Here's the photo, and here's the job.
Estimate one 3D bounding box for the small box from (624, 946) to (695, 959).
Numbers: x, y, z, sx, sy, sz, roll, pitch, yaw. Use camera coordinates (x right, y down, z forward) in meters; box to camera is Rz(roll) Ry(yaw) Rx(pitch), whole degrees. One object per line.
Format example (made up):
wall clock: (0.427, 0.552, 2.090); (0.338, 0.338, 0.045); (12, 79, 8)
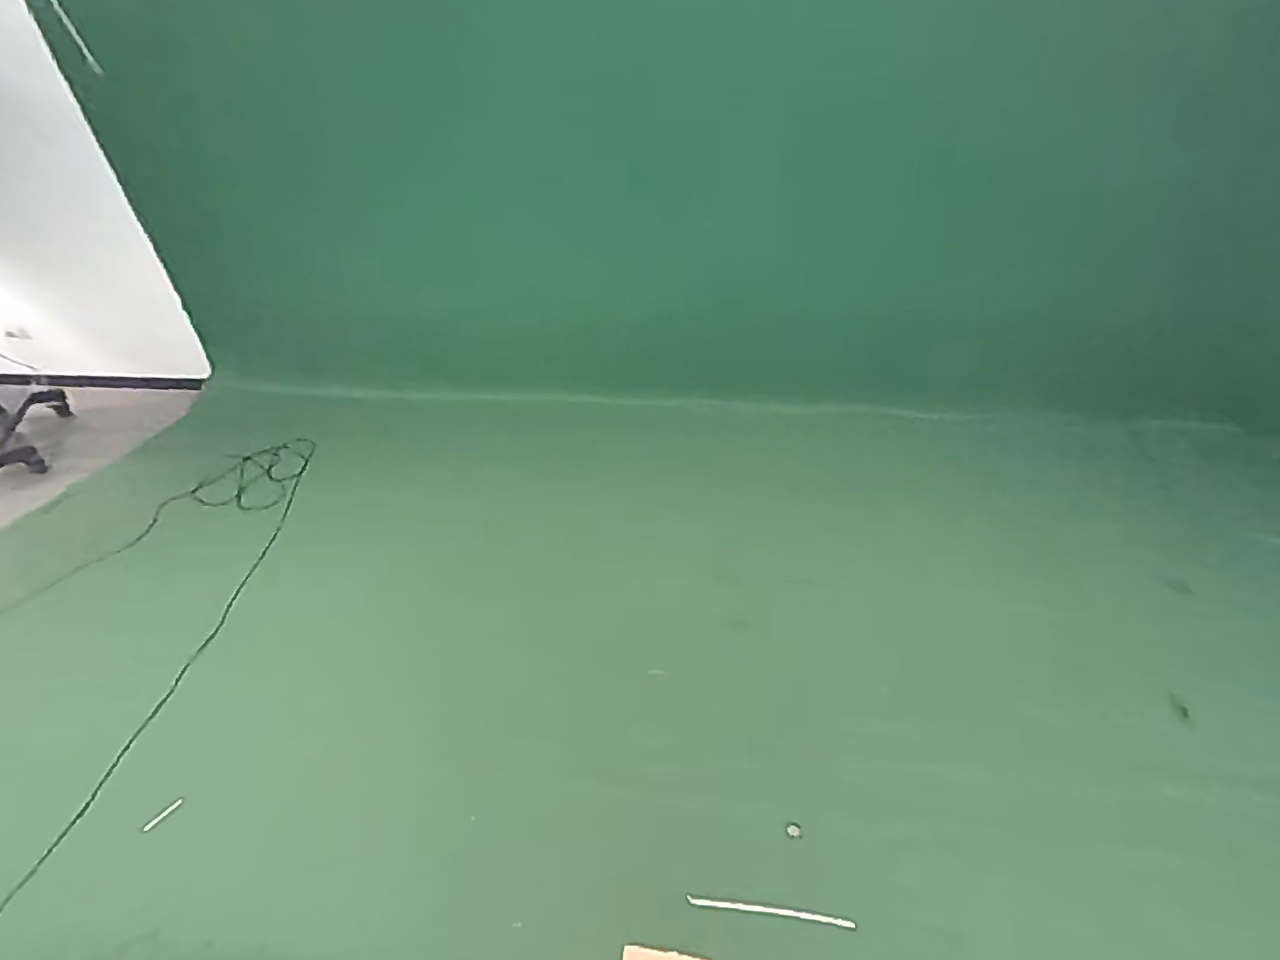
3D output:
small box: (0.047, 1.042, 1.044); (0.179, 0.176, 0.168); (3, 36, 9)
